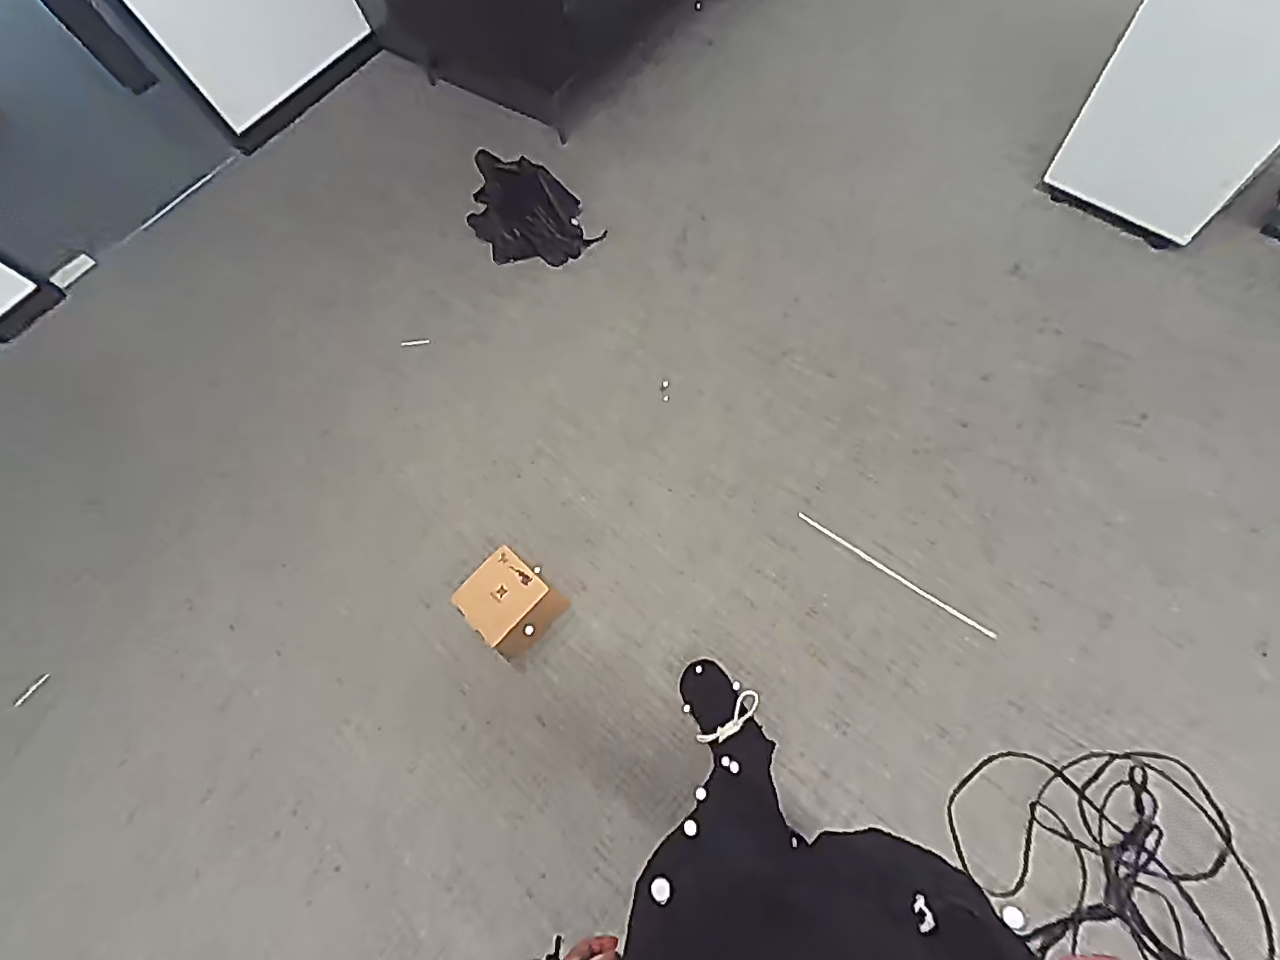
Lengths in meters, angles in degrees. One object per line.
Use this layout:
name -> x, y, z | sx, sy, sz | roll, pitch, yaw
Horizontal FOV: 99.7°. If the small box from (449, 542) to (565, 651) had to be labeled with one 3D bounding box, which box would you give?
small box -> -0.306, 0.282, 1.280 | 0.168, 0.176, 0.179 | 39, 78, 22
